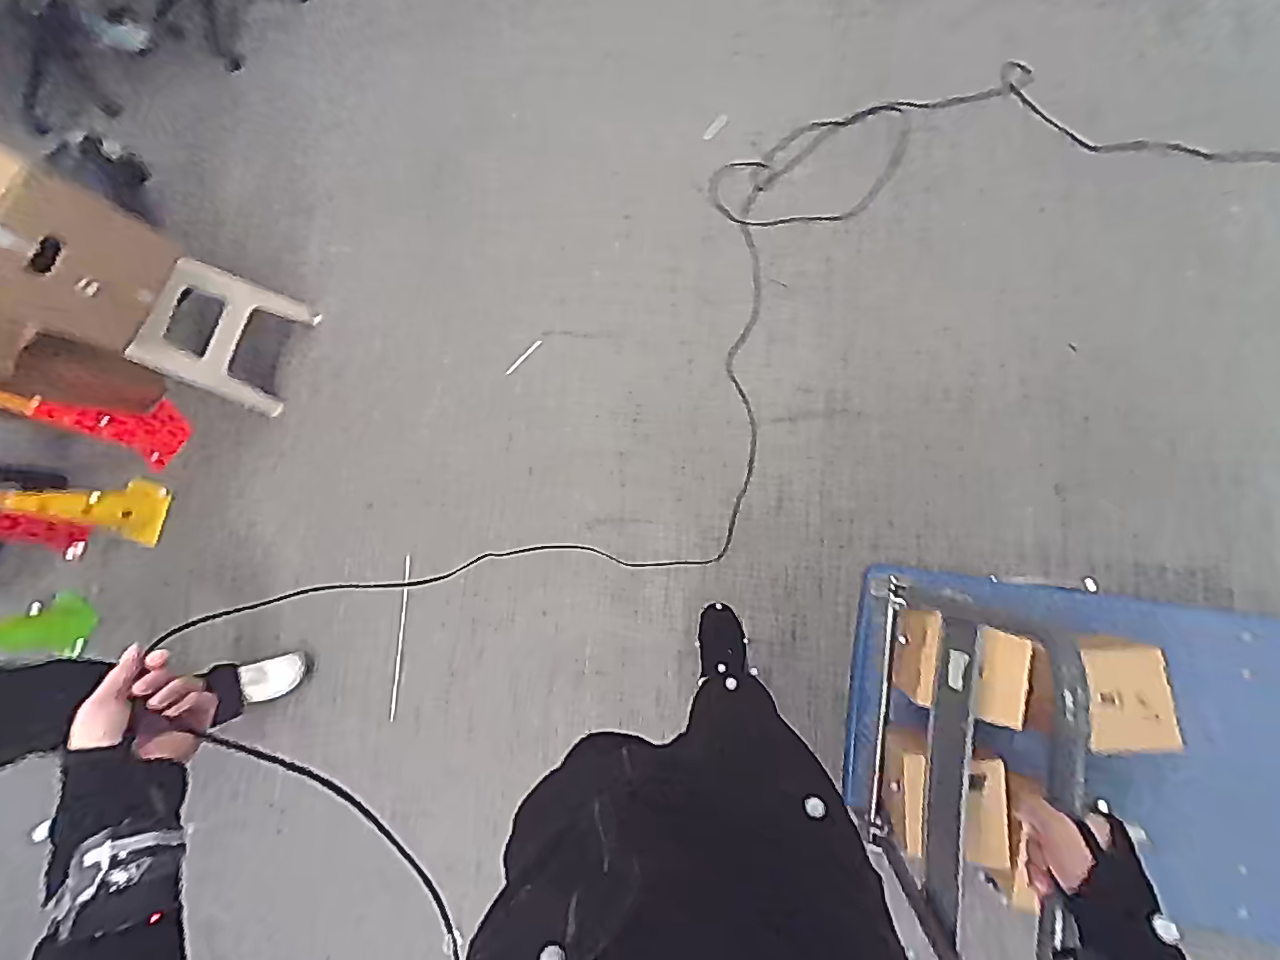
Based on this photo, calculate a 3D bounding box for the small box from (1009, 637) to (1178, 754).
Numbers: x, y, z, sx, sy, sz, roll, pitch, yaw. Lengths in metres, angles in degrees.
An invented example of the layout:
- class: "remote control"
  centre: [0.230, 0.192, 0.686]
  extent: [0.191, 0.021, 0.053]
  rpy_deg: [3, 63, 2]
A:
- class: "small box"
  centre: [0.813, 0.389, 0.995]
  extent: [0.179, 0.176, 0.168]
  rpy_deg: [-7, 82, 11]
